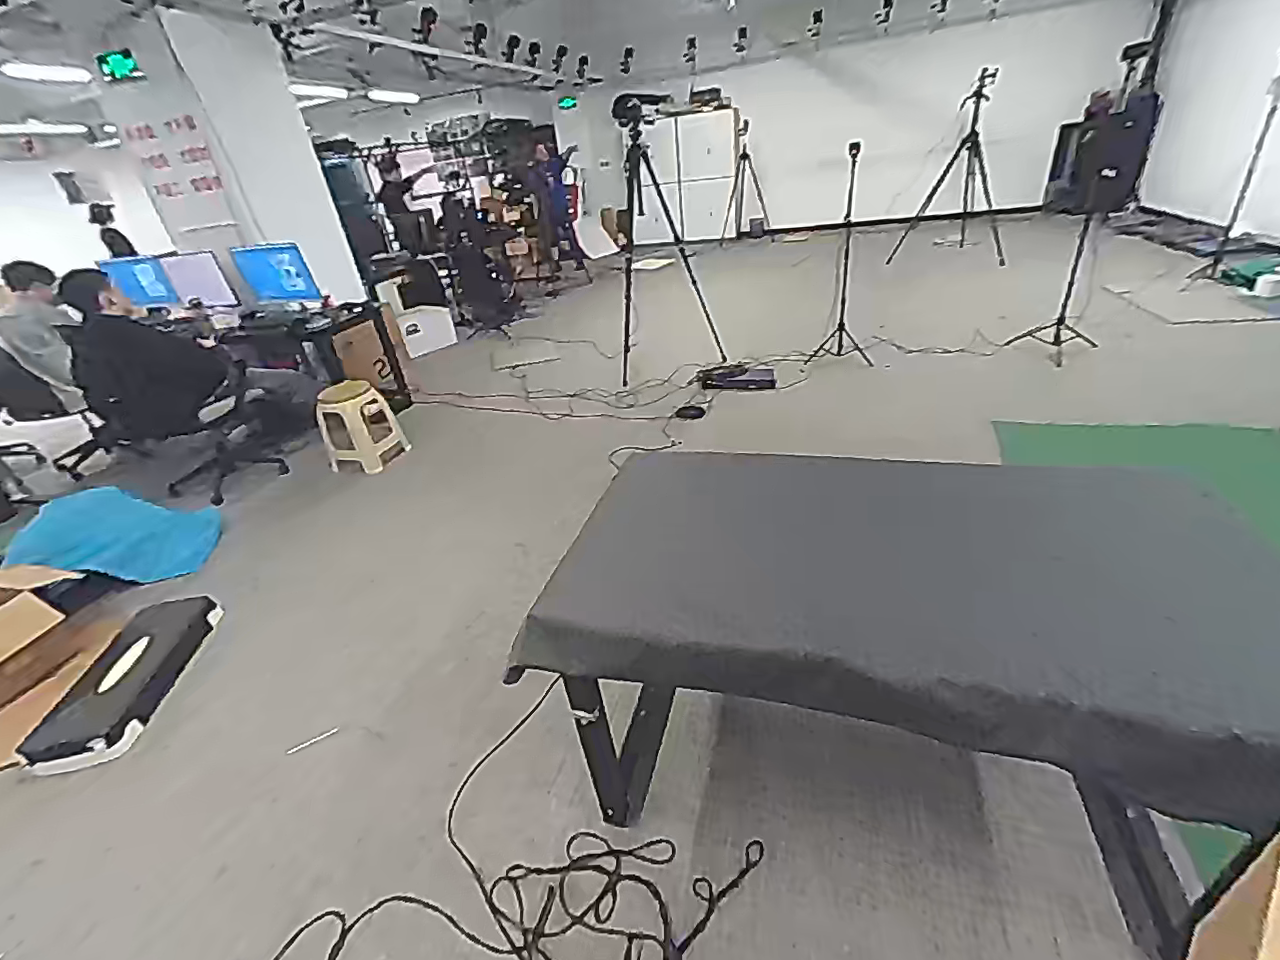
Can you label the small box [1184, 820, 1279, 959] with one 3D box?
[{"bbox_3d":[0.453,0.369,0.324,0.179,0.176,0.168,-27,35,-31],"label":"small box"}]
